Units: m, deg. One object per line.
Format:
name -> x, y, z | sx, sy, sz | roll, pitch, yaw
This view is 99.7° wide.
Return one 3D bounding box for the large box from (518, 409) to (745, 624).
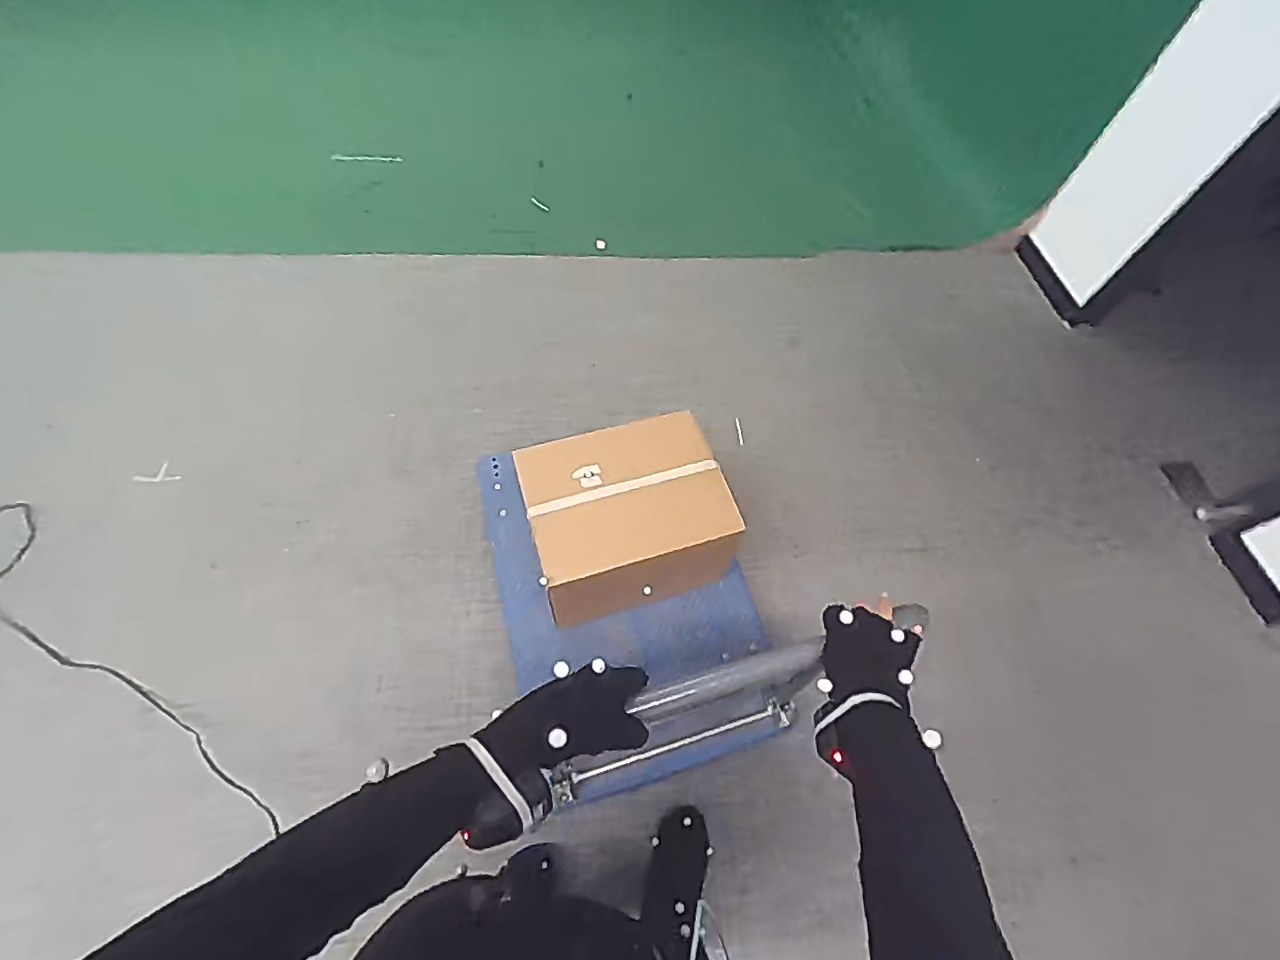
large box -> -0.030, 0.091, 1.239 | 0.408, 0.320, 0.320 | -16, 62, -12
